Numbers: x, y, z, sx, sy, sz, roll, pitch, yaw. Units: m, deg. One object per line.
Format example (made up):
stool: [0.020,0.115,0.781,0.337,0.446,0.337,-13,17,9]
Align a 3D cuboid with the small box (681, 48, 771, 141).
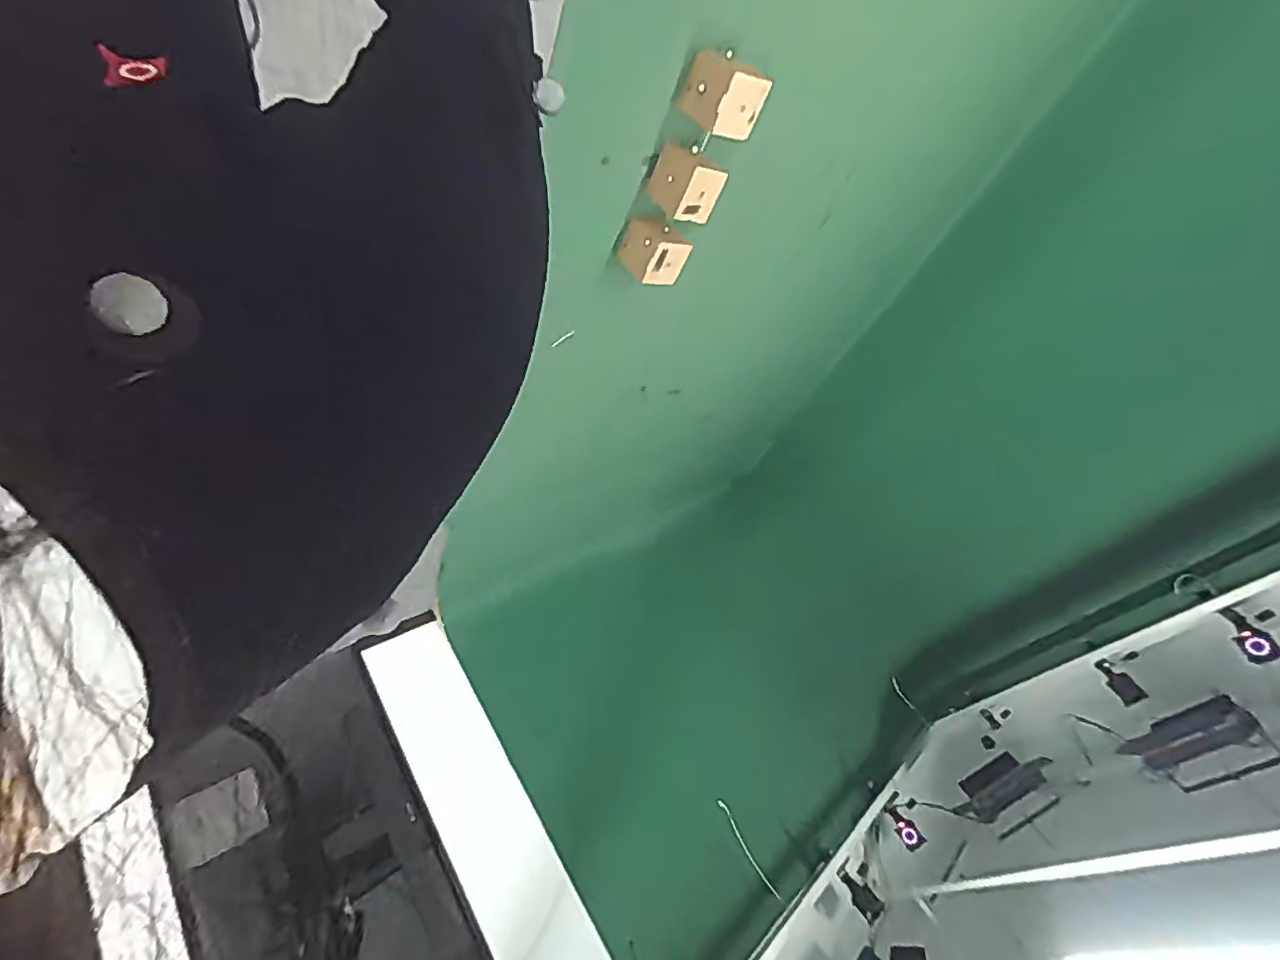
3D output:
small box: [0.253,-1.168,1.638,0.179,0.176,0.168,-18,151,-38]
